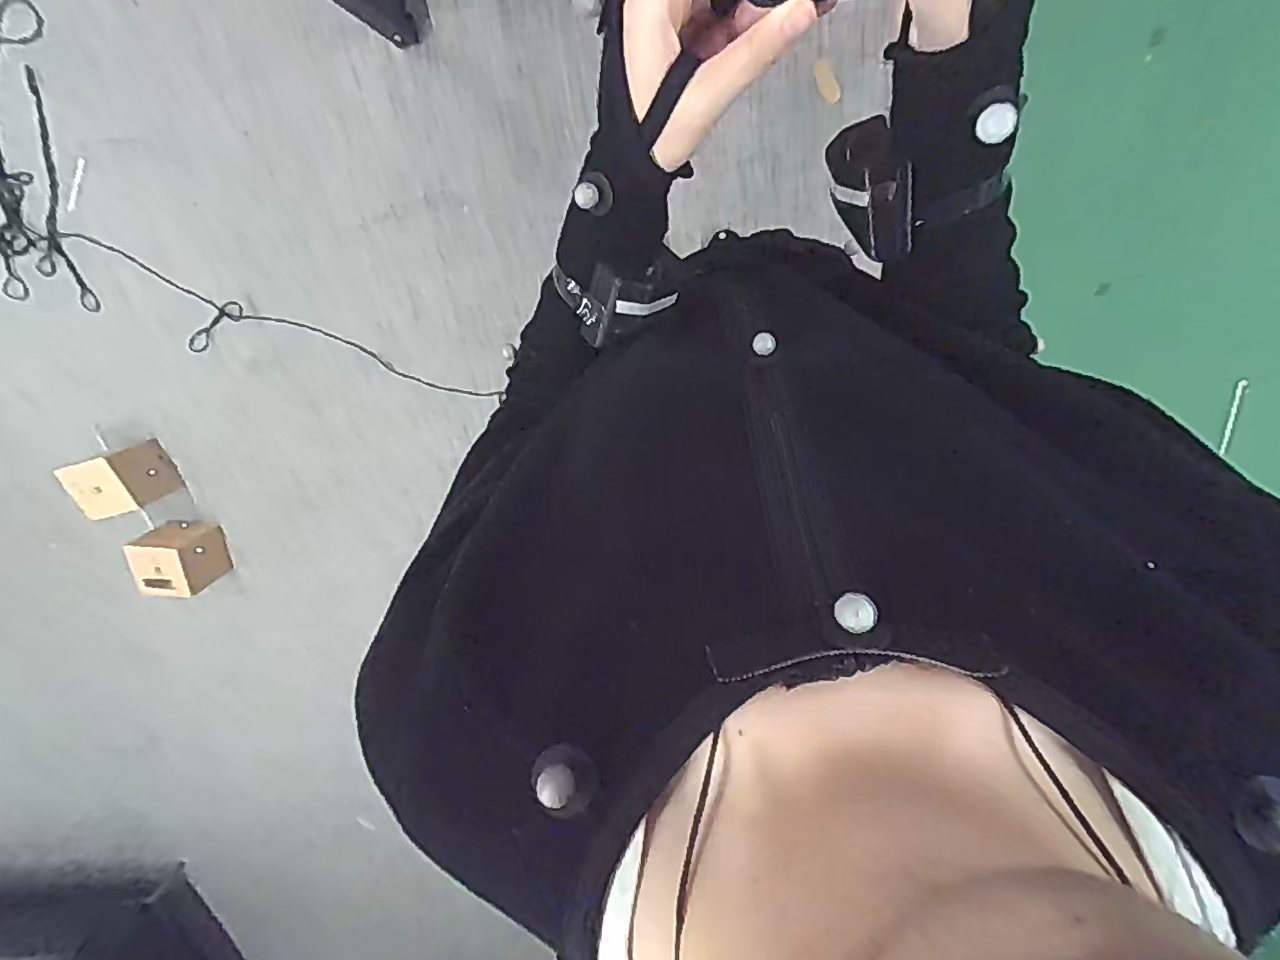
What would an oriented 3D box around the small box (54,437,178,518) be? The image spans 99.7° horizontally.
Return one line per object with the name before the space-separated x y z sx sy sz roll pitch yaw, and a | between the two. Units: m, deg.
small box | -1.511 -0.013 1.580 0.179 0.176 0.168 -12 112 9
